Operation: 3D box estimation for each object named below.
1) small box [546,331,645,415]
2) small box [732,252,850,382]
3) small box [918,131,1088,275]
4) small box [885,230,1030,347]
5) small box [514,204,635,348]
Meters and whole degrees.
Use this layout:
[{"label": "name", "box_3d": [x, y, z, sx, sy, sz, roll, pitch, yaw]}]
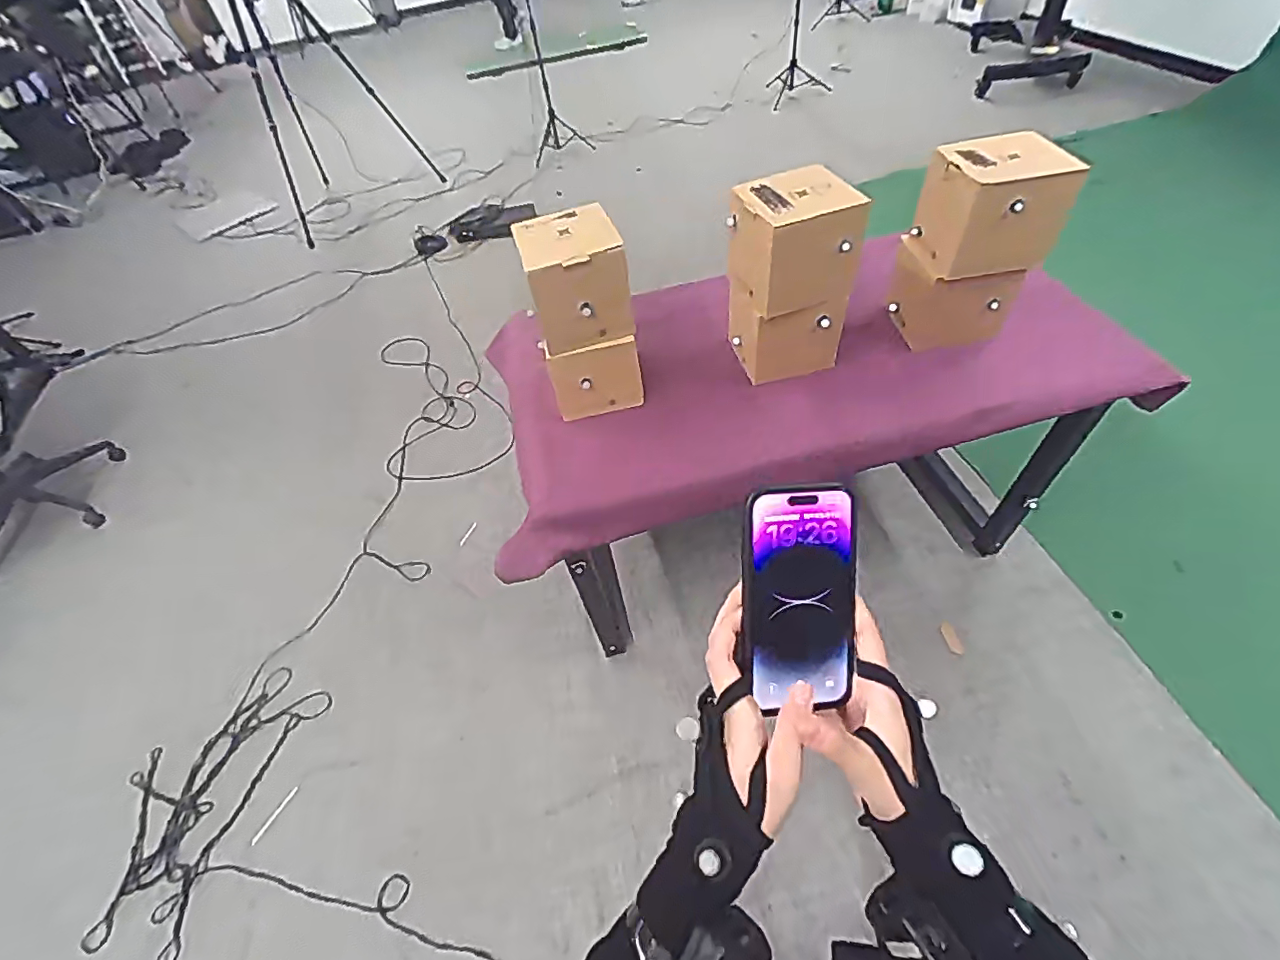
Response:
[{"label": "small box", "box_3d": [-0.091, -0.249, 1.089, 0.168, 0.176, 0.179, -13, 51, -2]}, {"label": "small box", "box_3d": [0.292, -0.325, 1.088, 0.179, 0.176, 0.168, -13, 51, -2]}, {"label": "small box", "box_3d": [0.618, -0.484, 0.956, 0.179, 0.176, 0.168, -9, 51, 1]}, {"label": "small box", "box_3d": [0.626, -0.392, 1.092, 0.179, 0.176, 0.168, -9, 50, 2]}, {"label": "small box", "box_3d": [-0.113, -0.357, 0.967, 0.168, 0.176, 0.179, -17, 52, -5]}]
